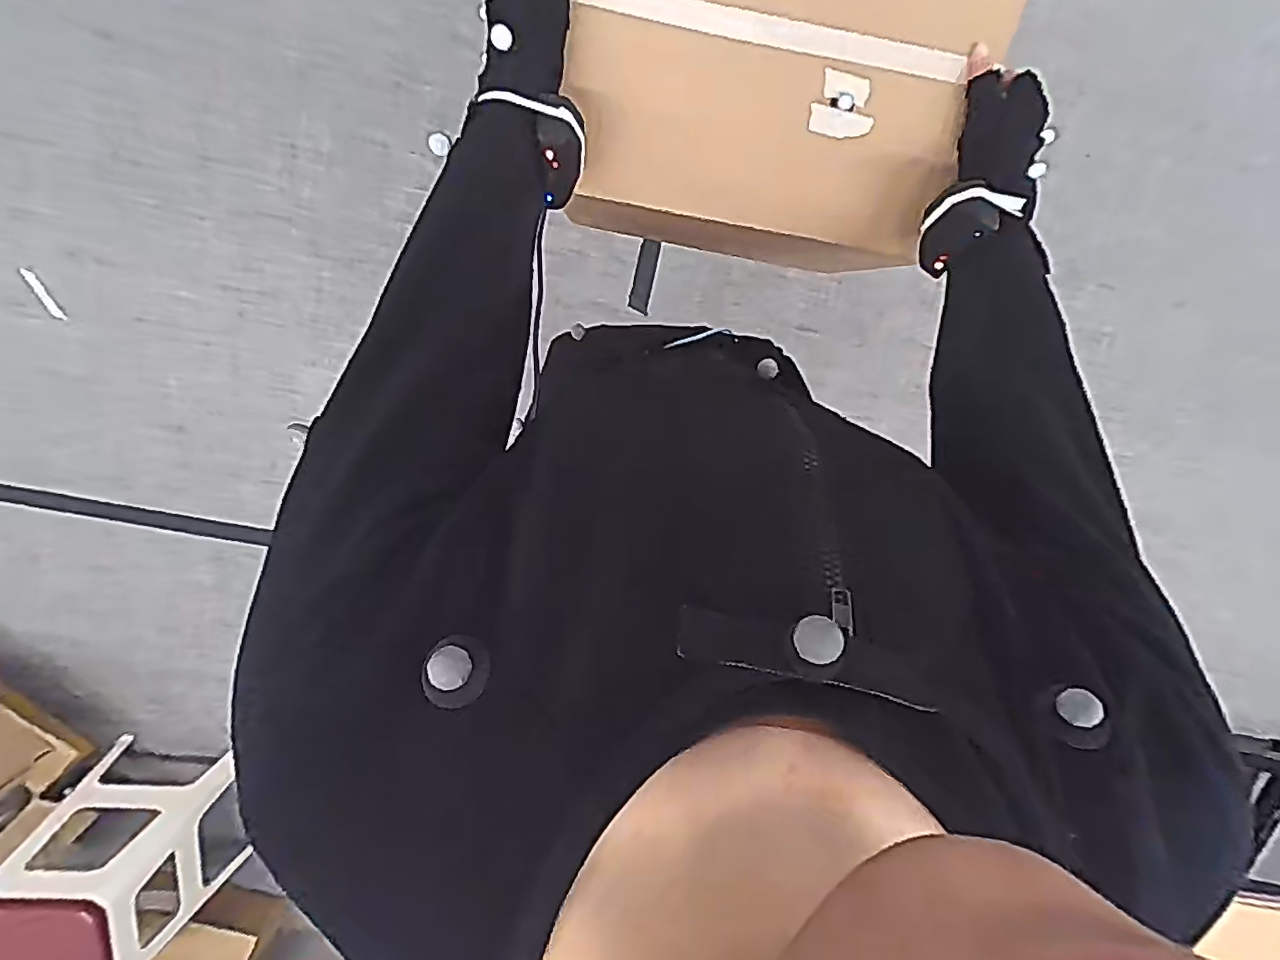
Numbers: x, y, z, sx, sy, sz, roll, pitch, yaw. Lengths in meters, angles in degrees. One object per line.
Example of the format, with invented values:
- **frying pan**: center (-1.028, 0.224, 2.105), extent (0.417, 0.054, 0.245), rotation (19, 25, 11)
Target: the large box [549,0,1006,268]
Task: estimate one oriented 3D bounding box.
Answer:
- **large box**: center (0.121, -0.448, 0.640), extent (0.408, 0.320, 0.320), rotation (8, 110, -5)
